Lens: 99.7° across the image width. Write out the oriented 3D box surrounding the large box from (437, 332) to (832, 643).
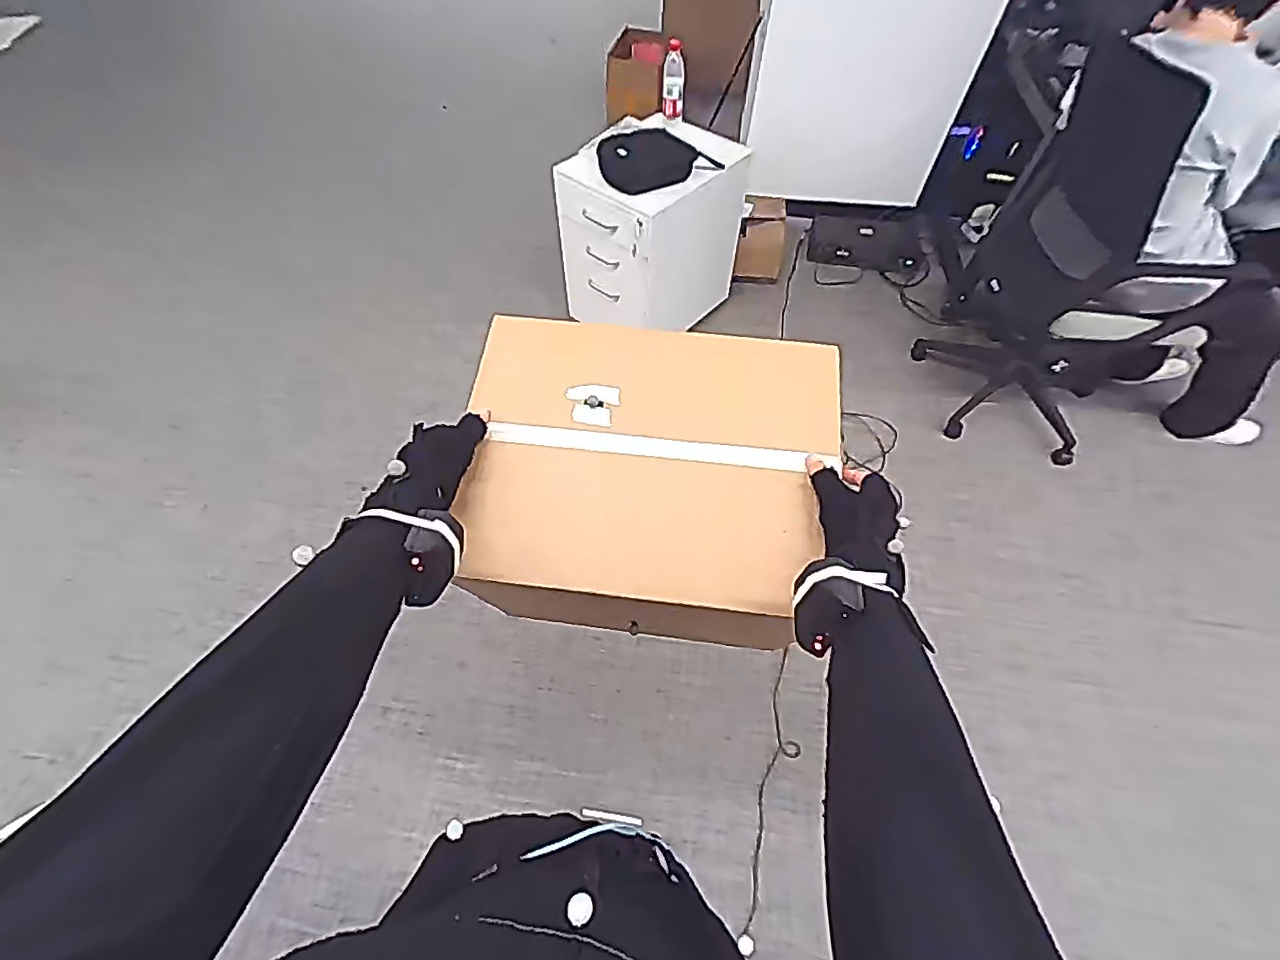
[{"bbox_3d":[0.012,0.032,0.727,0.408,0.320,0.320,6,68,4],"label":"large box"}]
